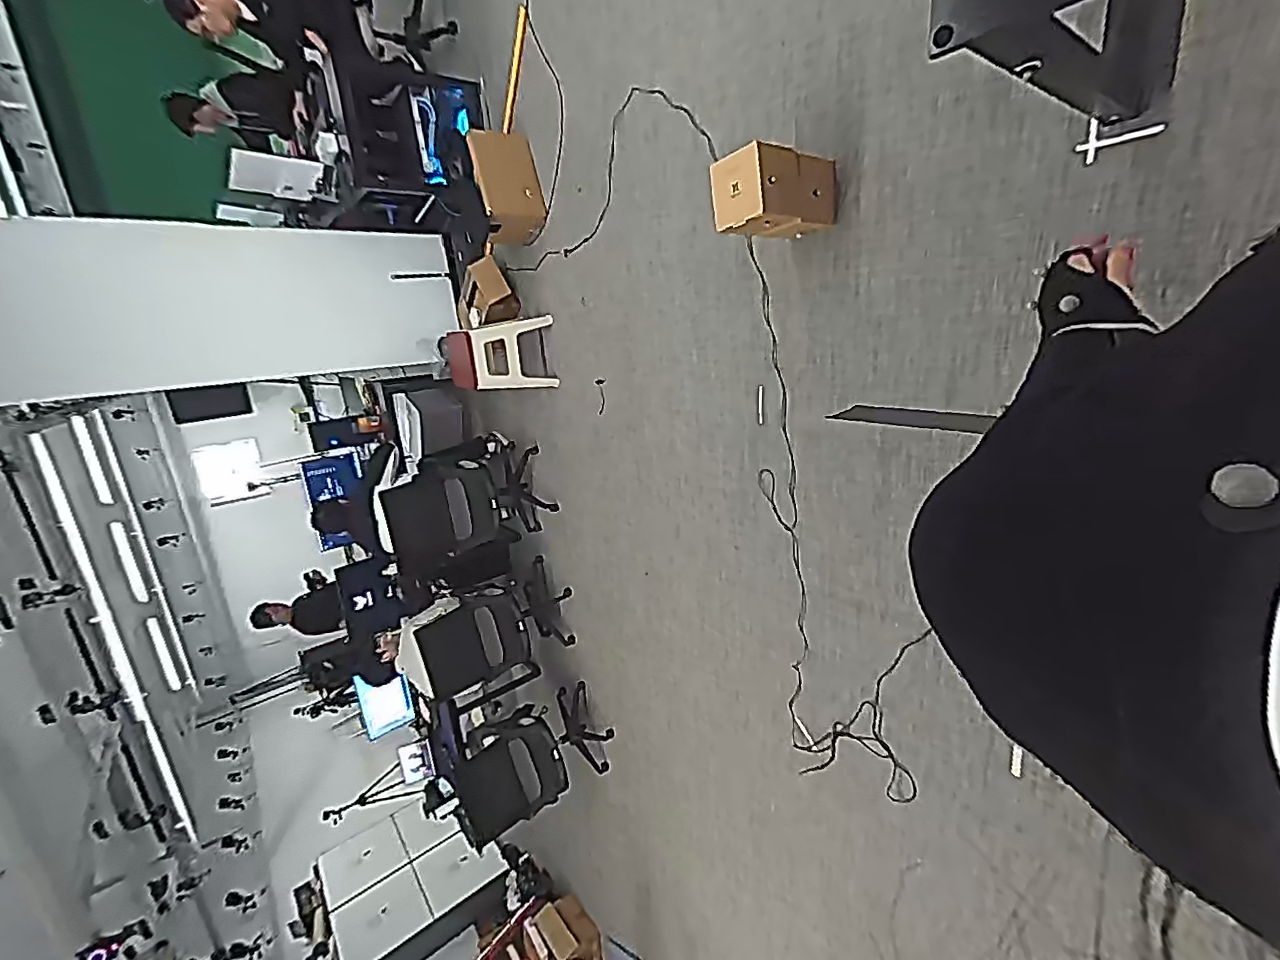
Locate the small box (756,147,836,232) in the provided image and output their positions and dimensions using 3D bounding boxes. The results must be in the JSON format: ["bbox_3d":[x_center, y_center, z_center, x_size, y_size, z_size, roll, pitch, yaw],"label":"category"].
[{"bbox_3d":[0.447,-0.826,1.555,0.168,0.176,0.179,11,113,51],"label":"small box"}]

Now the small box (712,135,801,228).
[{"bbox_3d":[0.319,-0.794,1.460,0.168,0.176,0.179,6,107,51],"label":"small box"}]
